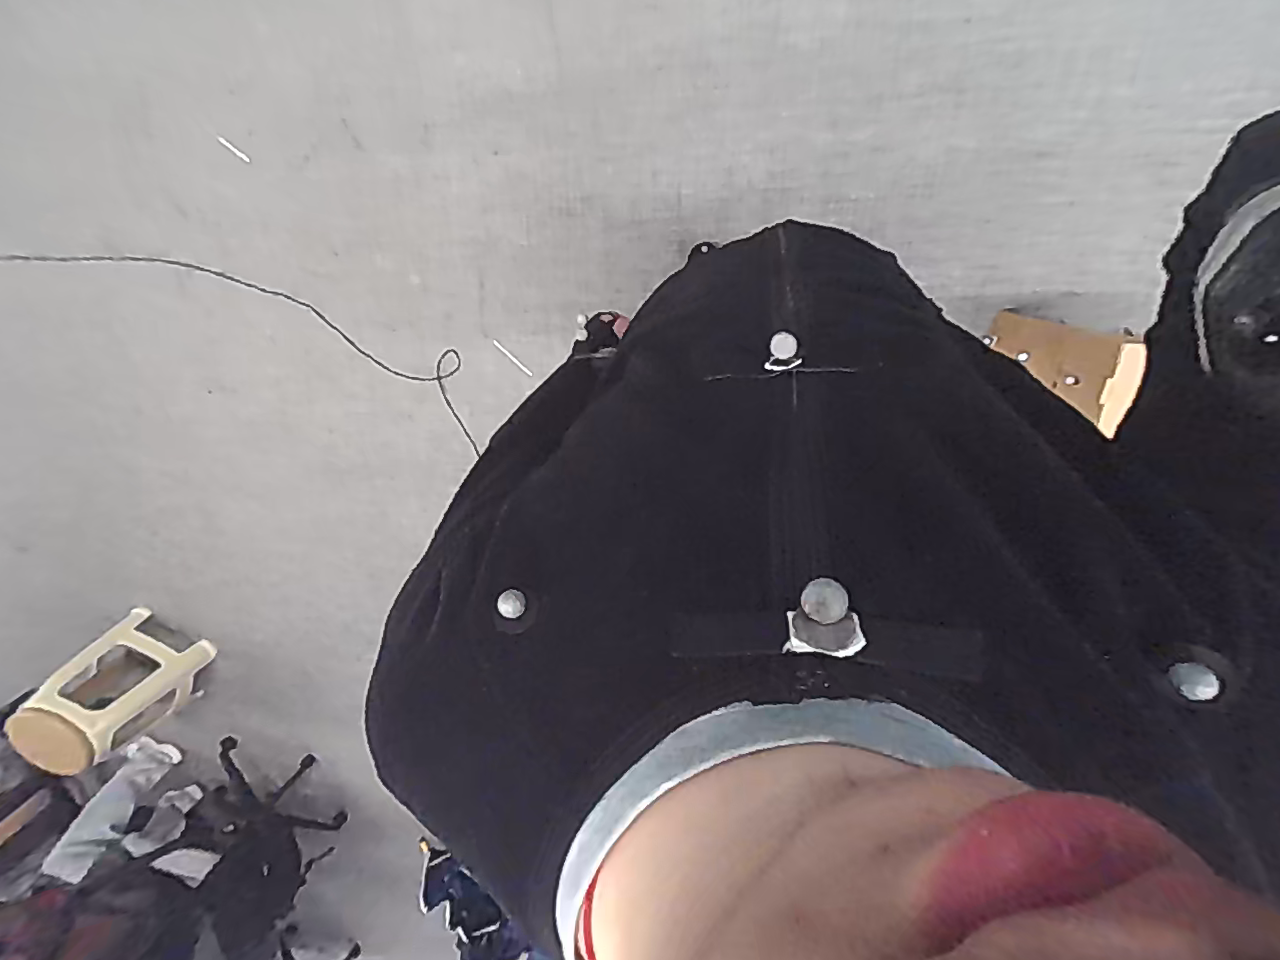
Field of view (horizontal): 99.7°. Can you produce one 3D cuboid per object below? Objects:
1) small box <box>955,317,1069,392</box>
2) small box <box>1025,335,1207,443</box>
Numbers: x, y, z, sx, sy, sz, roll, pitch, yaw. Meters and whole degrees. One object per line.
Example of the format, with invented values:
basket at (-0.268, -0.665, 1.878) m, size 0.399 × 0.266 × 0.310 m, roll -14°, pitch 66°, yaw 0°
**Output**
small box at (0.924, -0.298, 1.331) m, size 0.179 × 0.176 × 0.168 m, roll 12°, pitch 113°, yaw 3°
small box at (0.884, -0.180, 1.029) m, size 0.179 × 0.176 × 0.168 m, roll 5°, pitch 113°, yaw 5°
